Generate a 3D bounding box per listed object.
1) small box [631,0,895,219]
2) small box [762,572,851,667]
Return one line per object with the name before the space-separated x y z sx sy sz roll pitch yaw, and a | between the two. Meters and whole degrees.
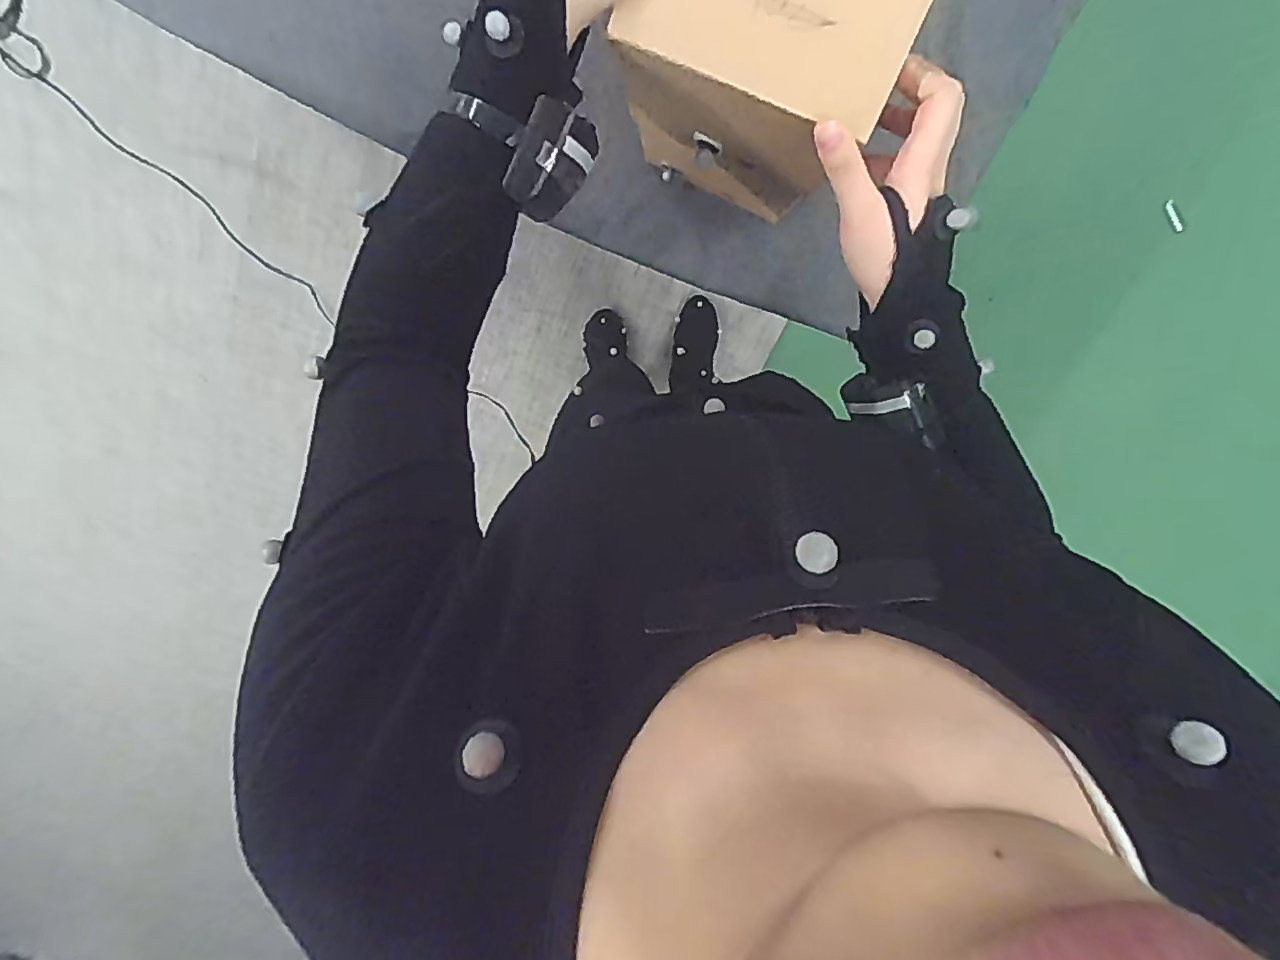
small box | 0.107 -0.376 0.515 0.168 0.176 0.179 24 107 -3
small box | 0.465 0.390 1.544 0.168 0.176 0.179 23 110 -4
